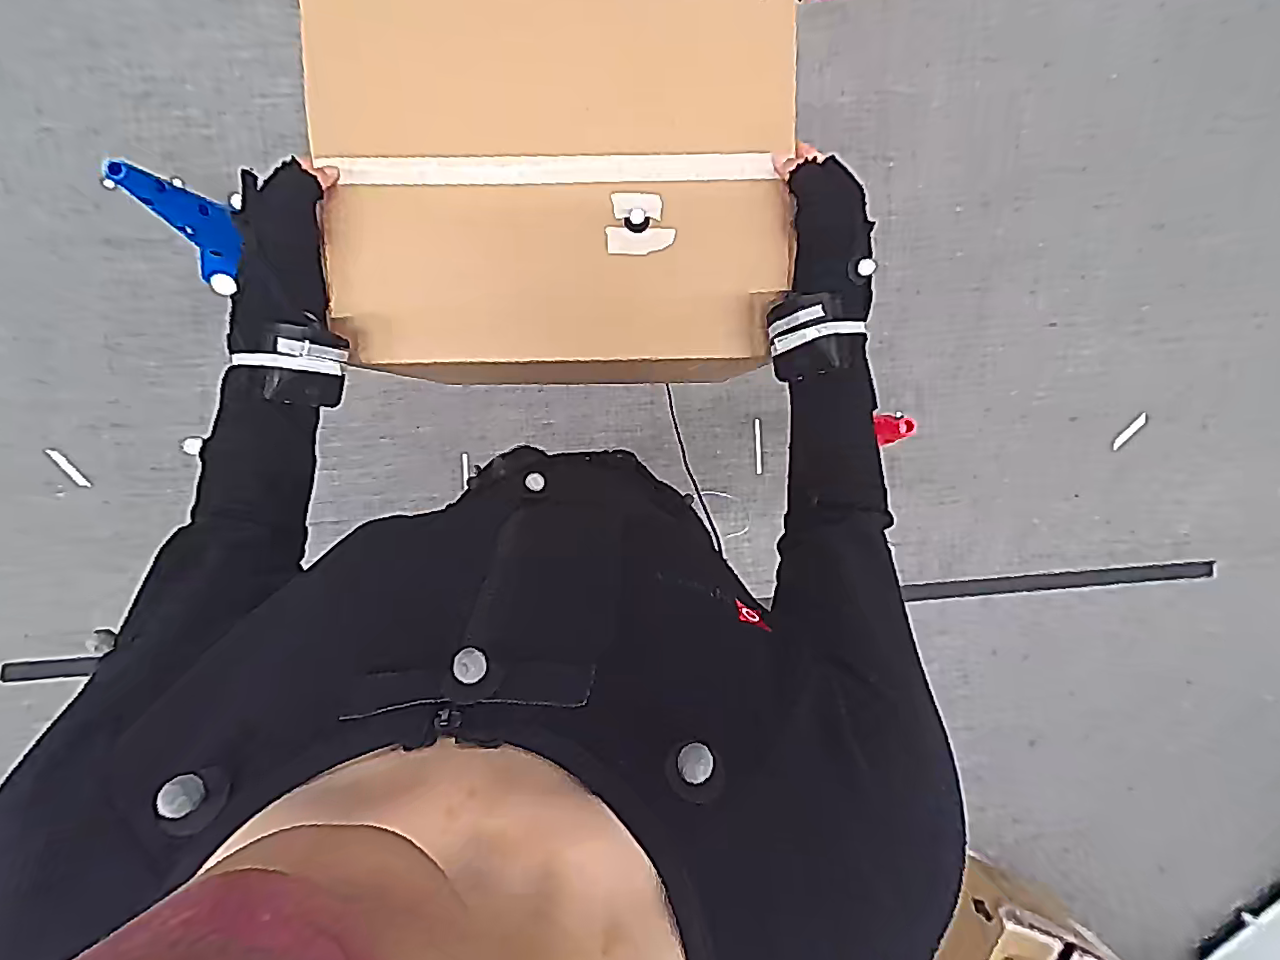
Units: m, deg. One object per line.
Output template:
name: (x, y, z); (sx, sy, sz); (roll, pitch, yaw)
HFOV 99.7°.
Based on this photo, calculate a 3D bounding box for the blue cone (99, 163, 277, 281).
blue cone: (-1.036, -0.610, 1.241); (0.192, 0.380, 0.193); (0, 92, -2)

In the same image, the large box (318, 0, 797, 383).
large box: (-0.070, -0.282, 0.611); (0.408, 0.320, 0.320); (-2, 97, -2)
